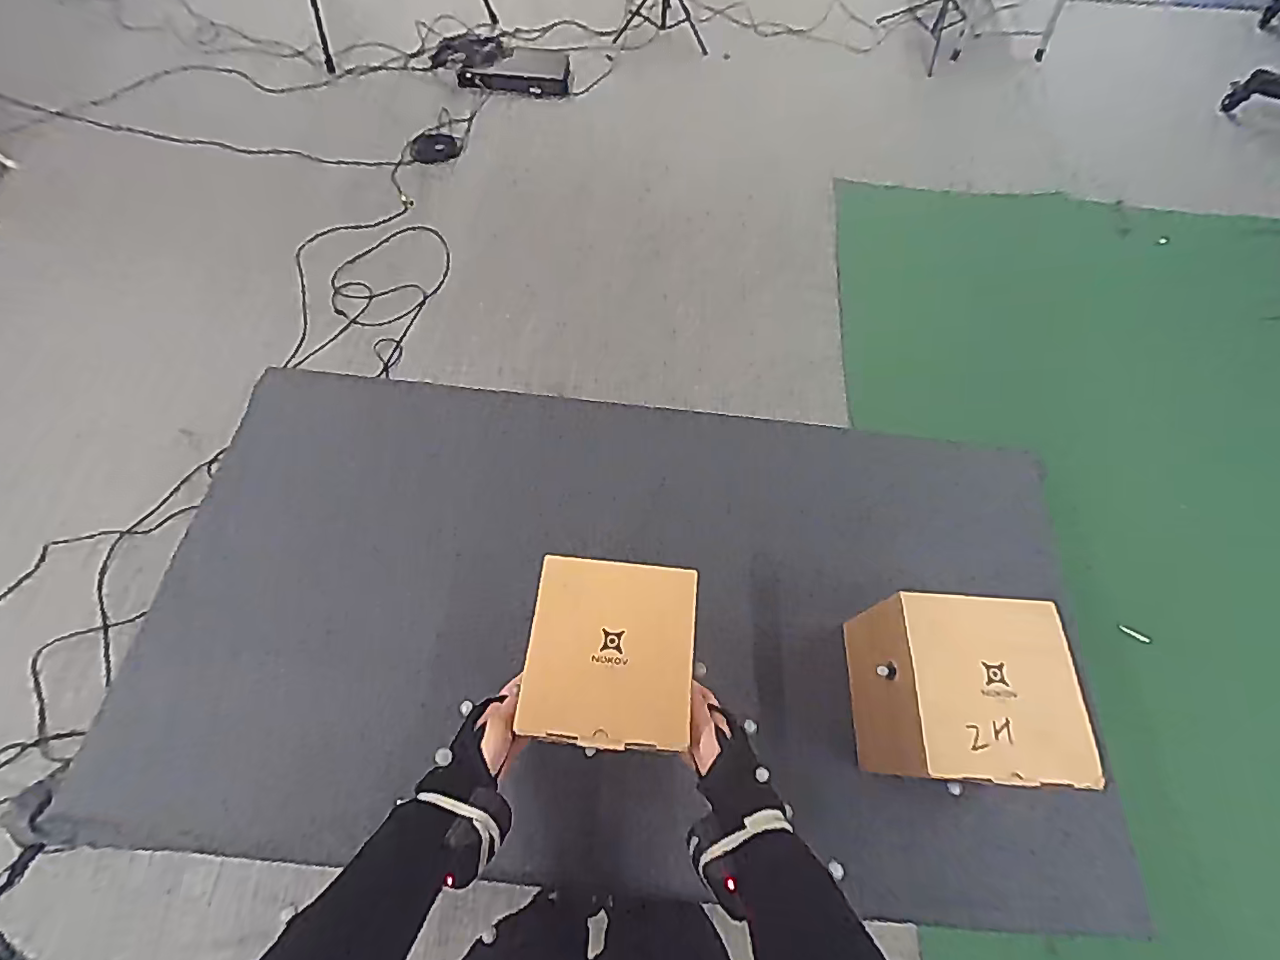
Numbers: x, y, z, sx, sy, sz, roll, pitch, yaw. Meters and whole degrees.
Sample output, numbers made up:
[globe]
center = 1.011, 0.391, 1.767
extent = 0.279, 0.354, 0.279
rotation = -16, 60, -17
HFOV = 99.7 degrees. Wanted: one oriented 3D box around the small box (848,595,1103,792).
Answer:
[small box]
center = 0.346, 0.239, 0.603
extent = 0.168, 0.176, 0.179
rotation = 3, 63, 1
